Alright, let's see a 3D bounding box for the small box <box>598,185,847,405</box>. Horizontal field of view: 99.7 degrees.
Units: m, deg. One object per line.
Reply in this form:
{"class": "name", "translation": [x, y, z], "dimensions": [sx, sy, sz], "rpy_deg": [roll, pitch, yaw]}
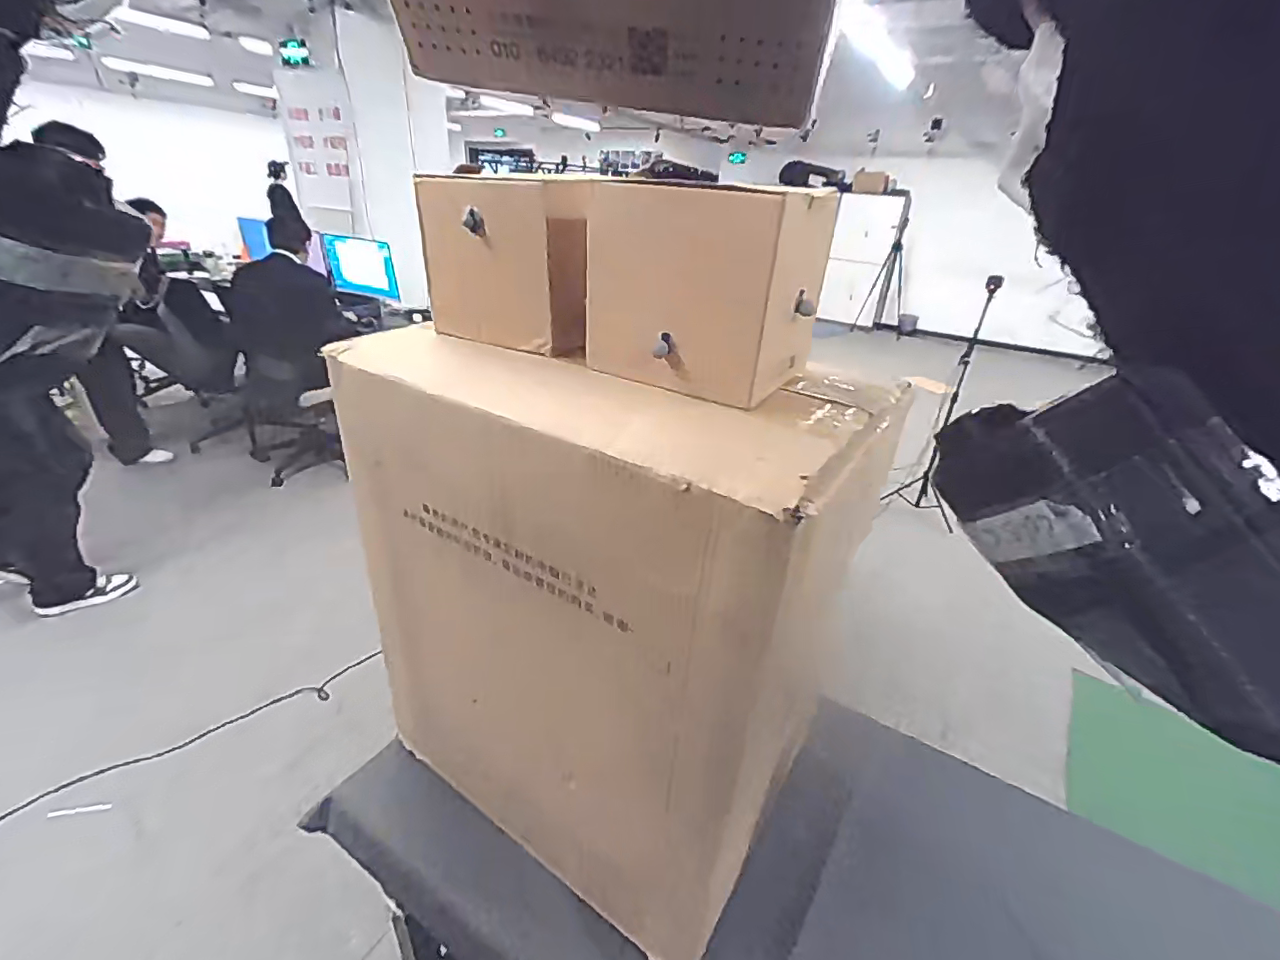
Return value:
{"class": "small box", "translation": [0.075, -0.183, 0.525], "dimensions": [0.179, 0.176, 0.168], "rpy_deg": [20, 32, 25]}

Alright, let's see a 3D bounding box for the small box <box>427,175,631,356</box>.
{"class": "small box", "translation": [-0.113, -0.250, 0.624], "dimensions": [0.179, 0.176, 0.168], "rpy_deg": [18, 33, 24]}

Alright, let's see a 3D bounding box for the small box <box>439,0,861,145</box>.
{"class": "small box", "translation": [0.014, -0.260, 0.193], "dimensions": [0.168, 0.176, 0.179], "rpy_deg": [15, 62, 10]}
